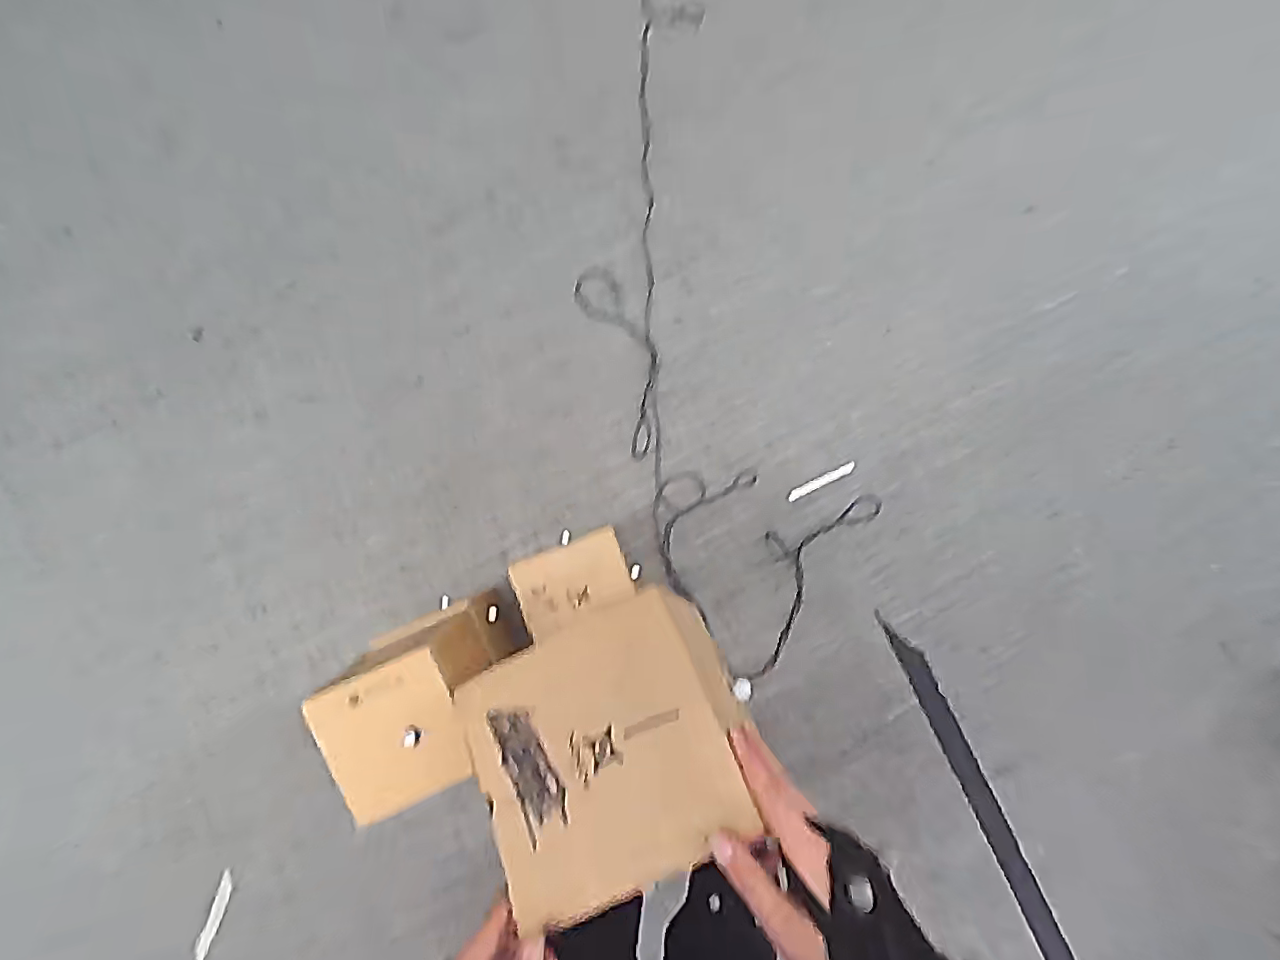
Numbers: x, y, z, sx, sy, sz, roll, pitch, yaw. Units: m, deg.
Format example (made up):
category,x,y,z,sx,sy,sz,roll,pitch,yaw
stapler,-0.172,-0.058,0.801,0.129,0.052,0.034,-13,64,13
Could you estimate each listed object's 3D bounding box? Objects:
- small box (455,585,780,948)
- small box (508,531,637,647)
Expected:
category,x,y,z,sx,sy,sz,roll,pitch,yaw
small box,-0.006,0.203,0.423,0.179,0.176,0.168,-29,67,5
small box,-0.101,0.189,0.913,0.179,0.176,0.168,-21,86,-3
